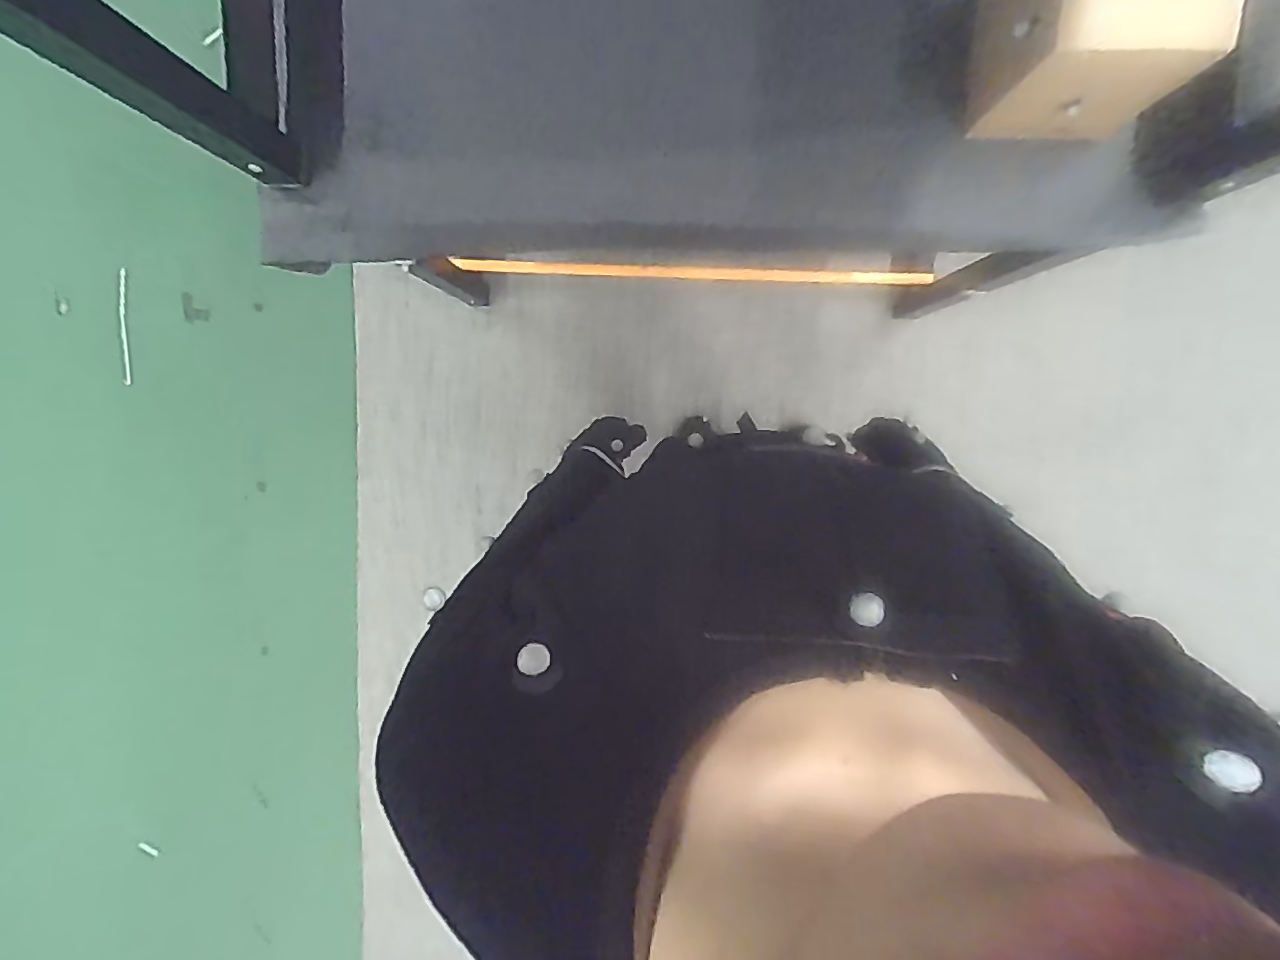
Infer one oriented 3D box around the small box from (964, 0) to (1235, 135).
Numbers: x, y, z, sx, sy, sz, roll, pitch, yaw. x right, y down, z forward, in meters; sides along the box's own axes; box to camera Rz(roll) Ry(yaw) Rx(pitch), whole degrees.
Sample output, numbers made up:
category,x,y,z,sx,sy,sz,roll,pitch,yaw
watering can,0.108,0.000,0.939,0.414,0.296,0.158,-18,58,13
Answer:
category,x,y,z,sx,sy,sz,roll,pitch,yaw
small box,0.480,-0.502,0.583,0.168,0.176,0.179,2,96,2
